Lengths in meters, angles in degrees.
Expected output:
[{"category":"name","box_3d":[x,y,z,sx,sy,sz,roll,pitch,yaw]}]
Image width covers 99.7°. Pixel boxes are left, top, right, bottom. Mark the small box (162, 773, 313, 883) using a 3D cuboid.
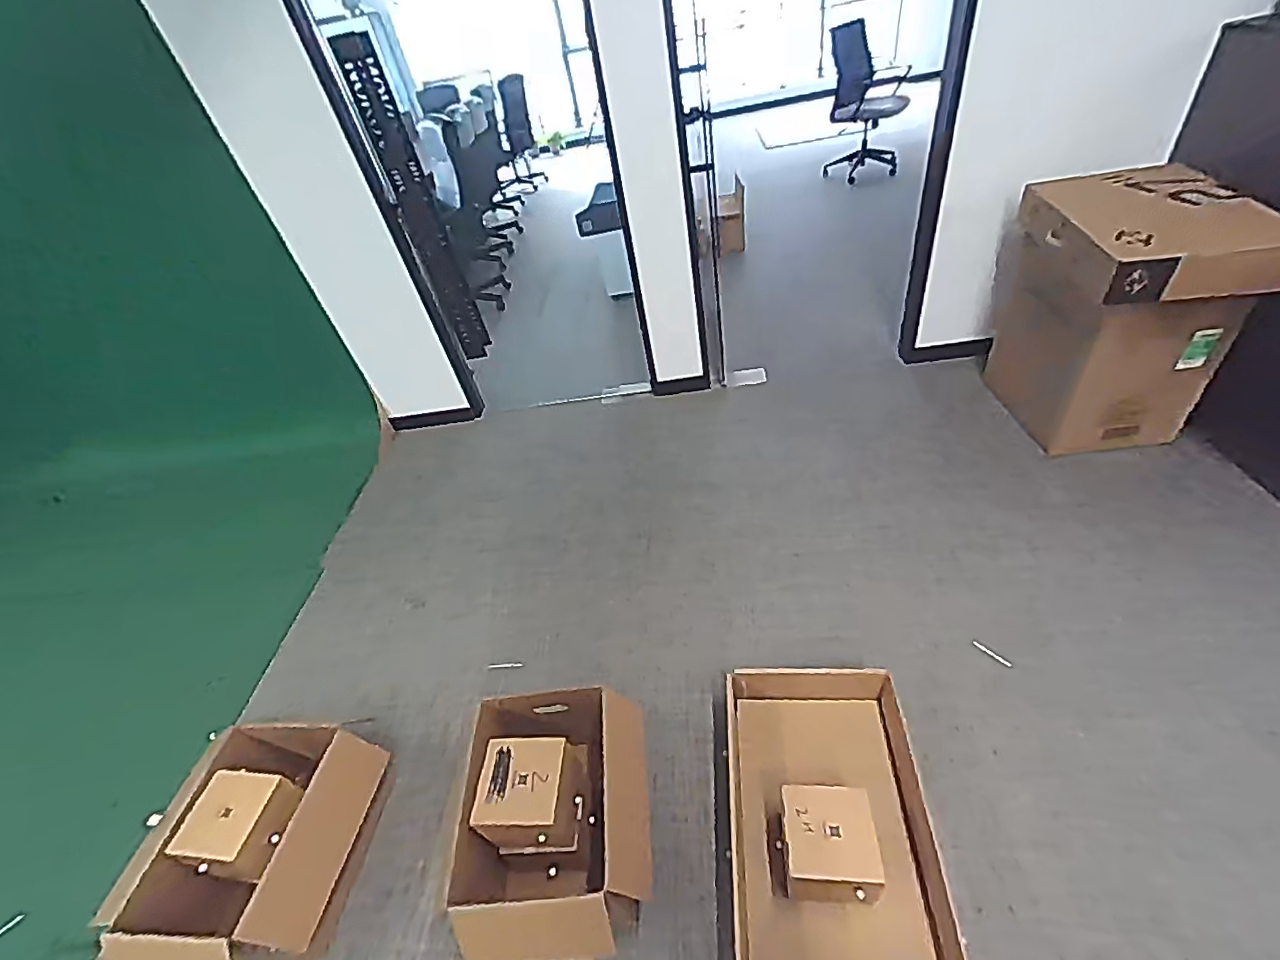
[{"category":"small box","box_3d":[-0.887,0.783,1.215,0.179,0.176,0.168,-2,41,11]}]
